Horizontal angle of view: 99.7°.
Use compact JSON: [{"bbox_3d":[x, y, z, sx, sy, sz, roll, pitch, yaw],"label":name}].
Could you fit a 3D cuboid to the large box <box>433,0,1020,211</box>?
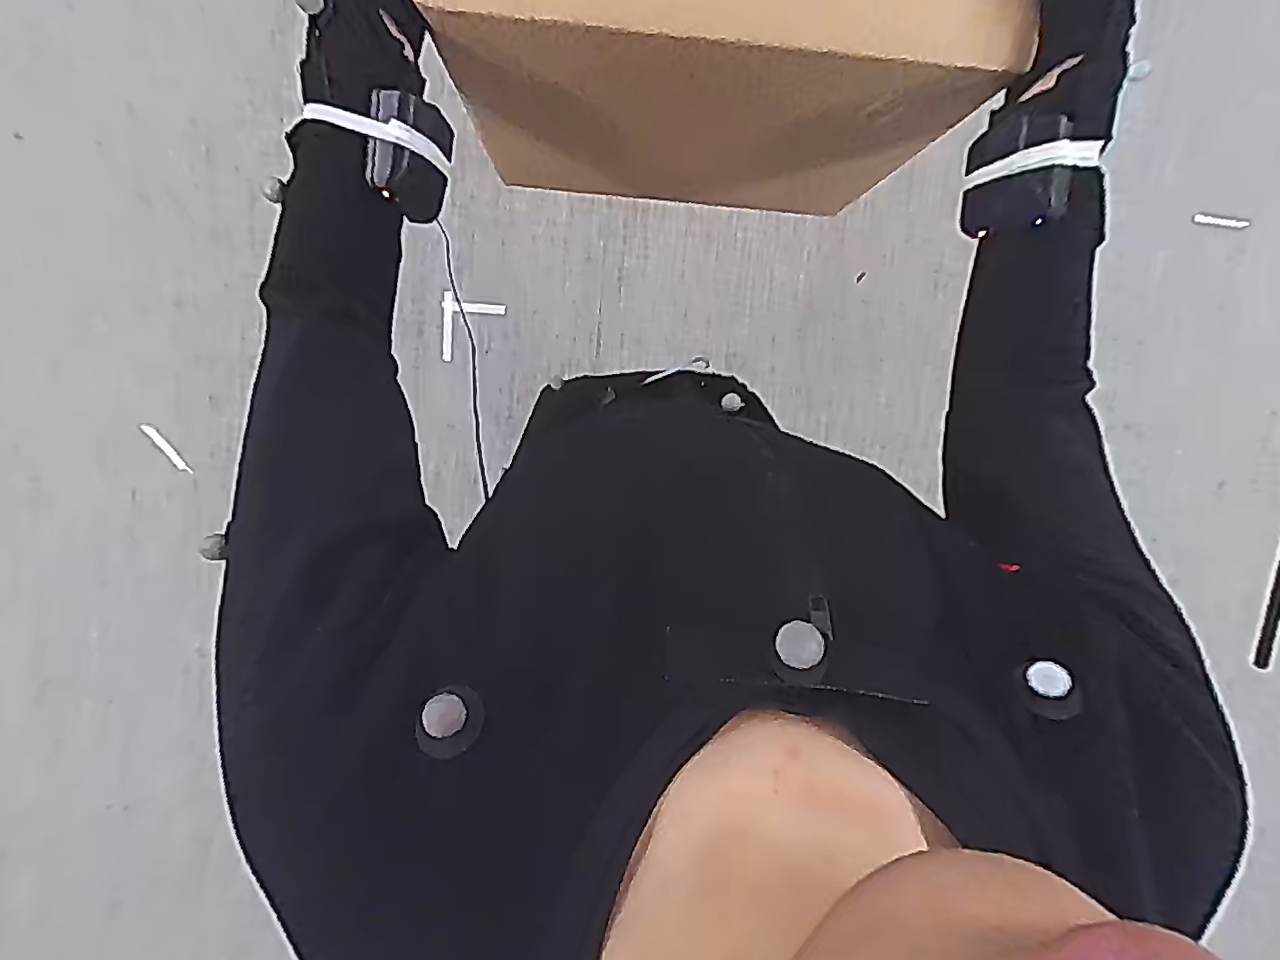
[{"bbox_3d":[0.057,-0.463,0.485,0.408,0.320,0.320,3,100,-5],"label":"large box"}]
